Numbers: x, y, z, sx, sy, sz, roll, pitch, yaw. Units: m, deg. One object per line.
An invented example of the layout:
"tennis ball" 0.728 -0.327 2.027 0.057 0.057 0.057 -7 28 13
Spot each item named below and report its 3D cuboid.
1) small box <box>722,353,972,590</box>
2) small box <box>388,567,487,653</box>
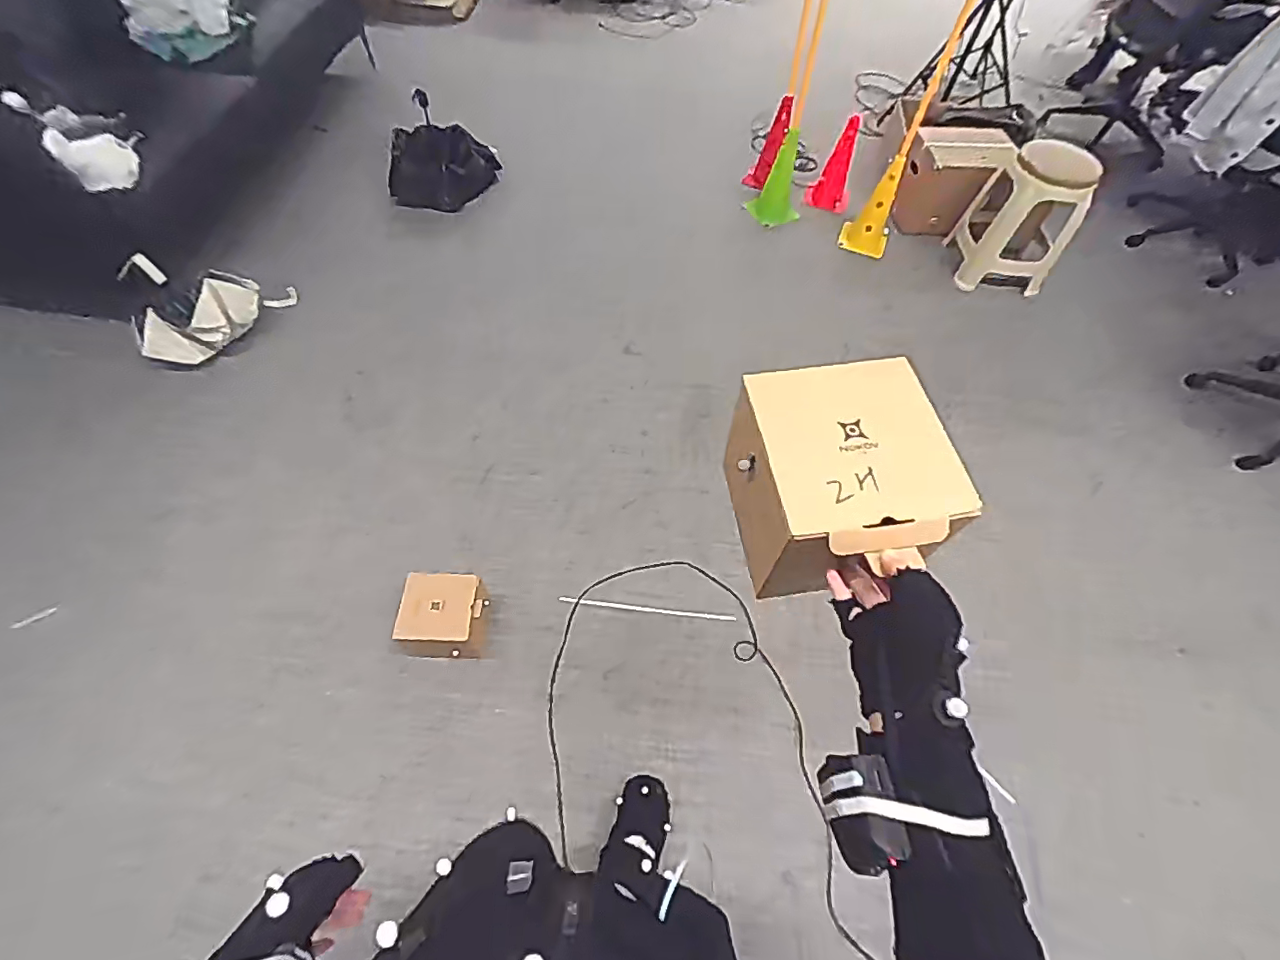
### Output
"small box" 0.189 -0.003 0.561 0.168 0.176 0.179 -8 61 -3
"small box" -0.490 0.326 1.340 0.179 0.176 0.168 2 59 -2
